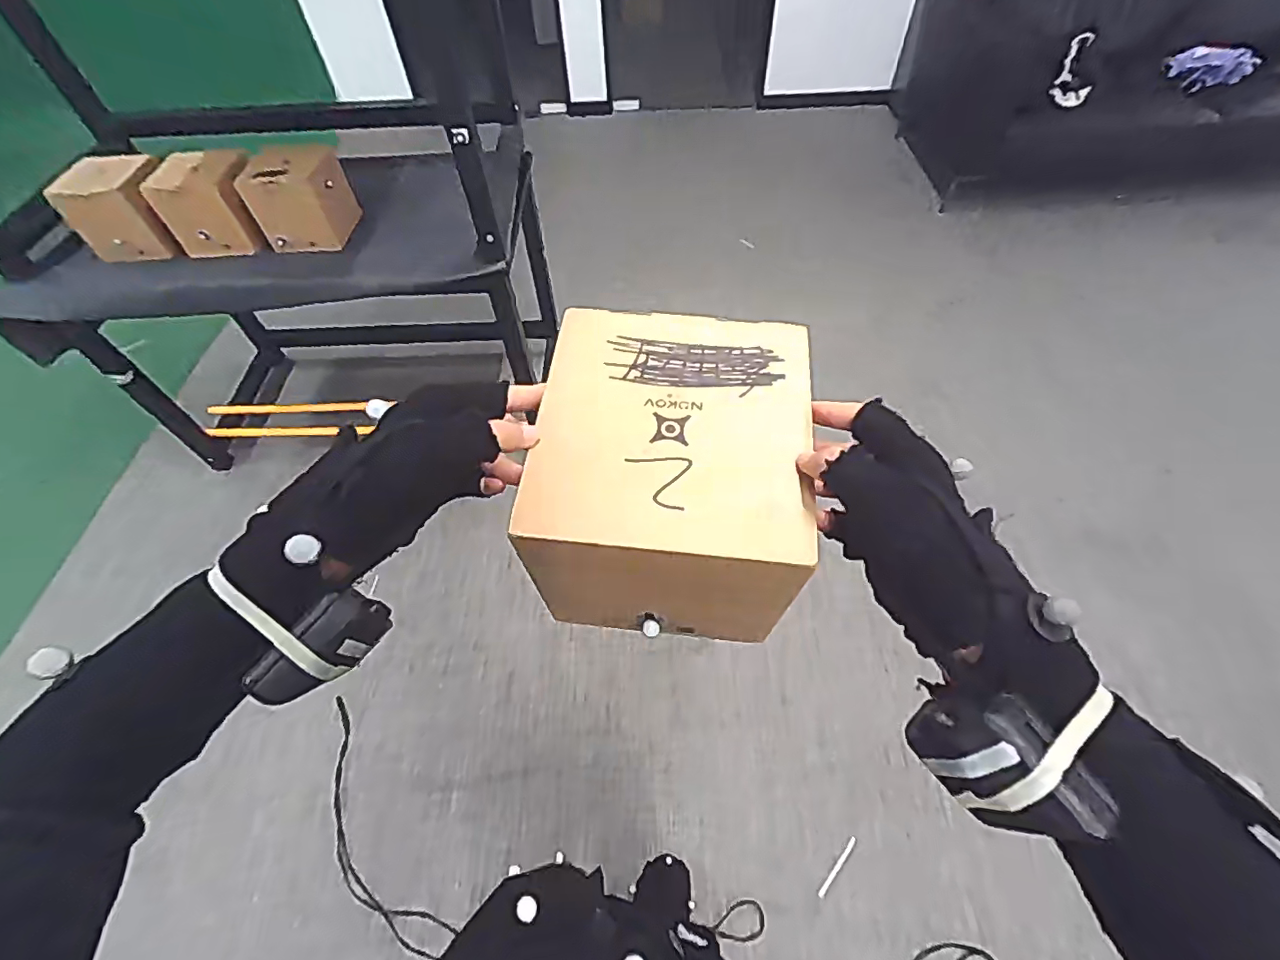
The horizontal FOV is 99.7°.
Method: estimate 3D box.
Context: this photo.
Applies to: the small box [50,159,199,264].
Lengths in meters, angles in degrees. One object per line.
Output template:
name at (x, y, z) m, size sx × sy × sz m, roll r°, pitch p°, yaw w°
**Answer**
small box at (-1.220, -0.645, 1.302) m, size 0.168 × 0.176 × 0.179 m, roll -4°, pitch 54°, yaw -1°
